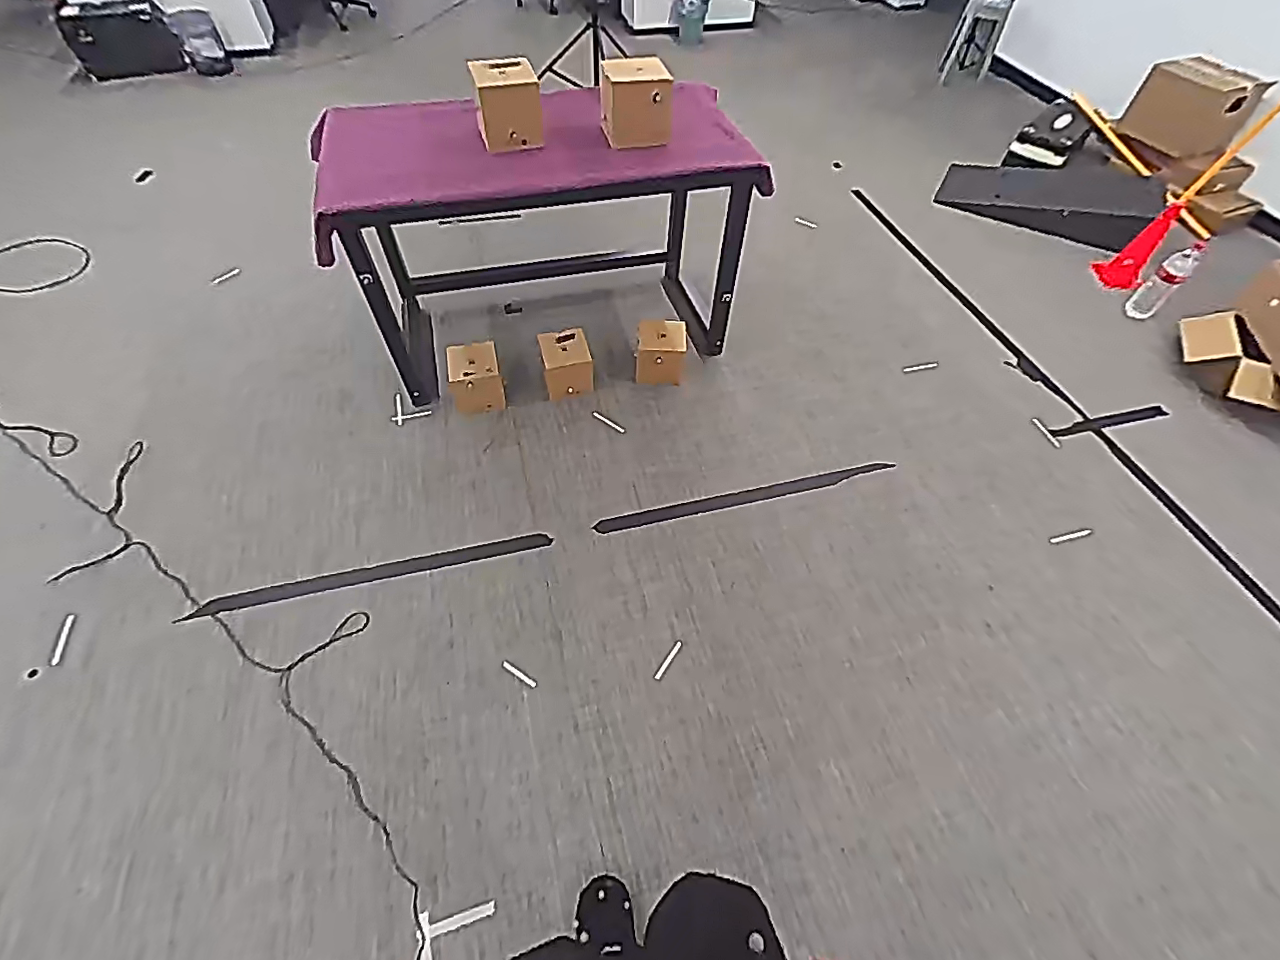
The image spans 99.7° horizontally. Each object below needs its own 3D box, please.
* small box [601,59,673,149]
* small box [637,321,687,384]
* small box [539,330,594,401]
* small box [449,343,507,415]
[{"bbox_3d":[-0.014,-1.087,1.566,0.179,0.176,0.168,-11,55,-9],"label":"small box"},{"bbox_3d":[0.079,-0.475,2.031,0.179,0.176,0.168,1,55,0],"label":"small box"},{"bbox_3d":[-0.268,-0.416,1.976,0.168,0.176,0.179,-13,57,-10],"label":"small box"},{"bbox_3d":[-0.576,-0.358,1.925,0.168,0.176,0.179,-11,55,-10],"label":"small box"}]
